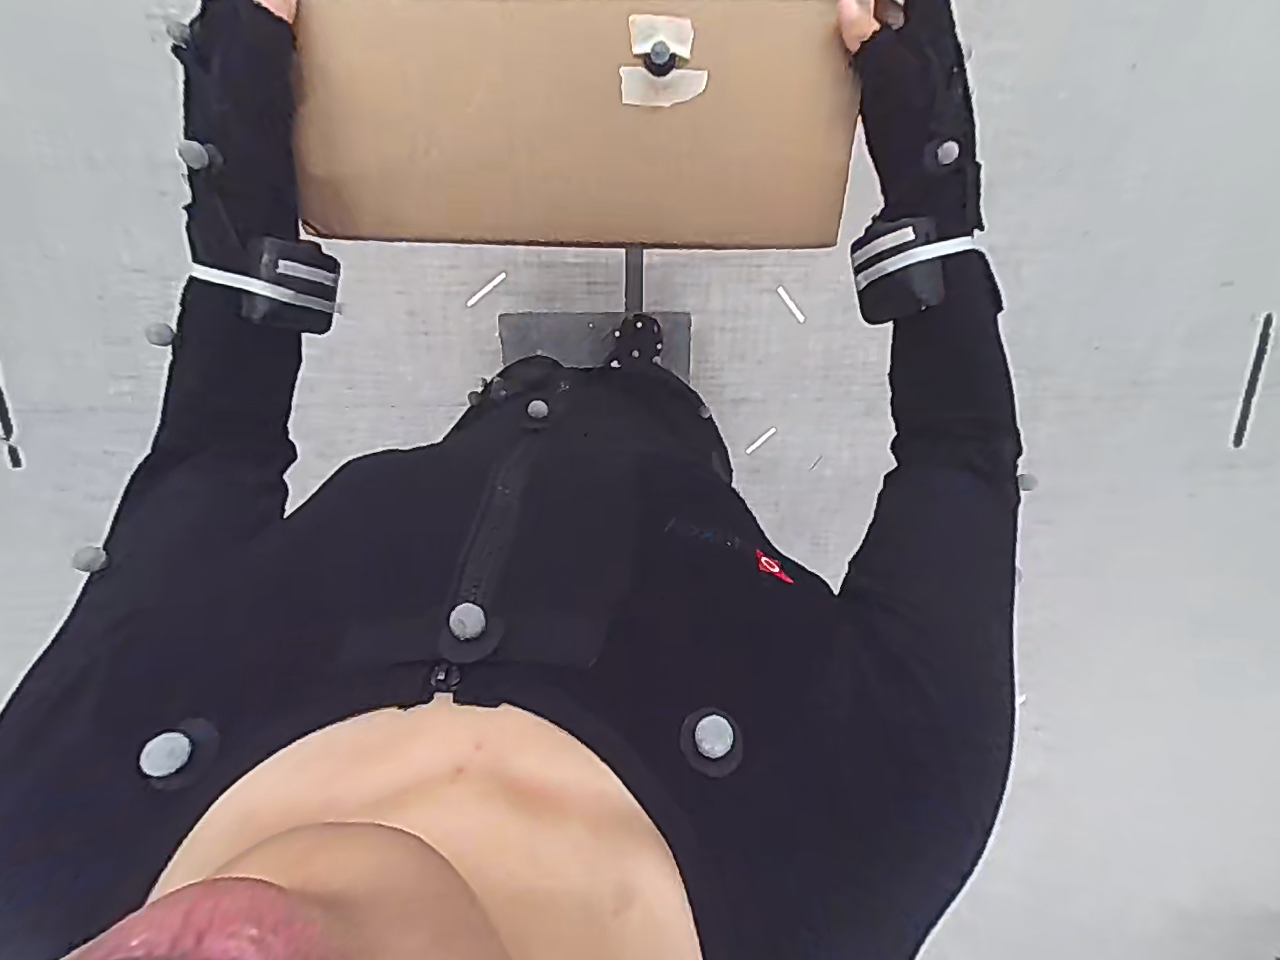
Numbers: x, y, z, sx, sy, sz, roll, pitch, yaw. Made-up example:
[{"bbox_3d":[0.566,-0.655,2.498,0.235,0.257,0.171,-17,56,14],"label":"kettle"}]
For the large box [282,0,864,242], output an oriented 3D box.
[{"bbox_3d":[-0.046,-0.395,0.500,0.408,0.320,0.320,1,114,0],"label":"large box"}]
